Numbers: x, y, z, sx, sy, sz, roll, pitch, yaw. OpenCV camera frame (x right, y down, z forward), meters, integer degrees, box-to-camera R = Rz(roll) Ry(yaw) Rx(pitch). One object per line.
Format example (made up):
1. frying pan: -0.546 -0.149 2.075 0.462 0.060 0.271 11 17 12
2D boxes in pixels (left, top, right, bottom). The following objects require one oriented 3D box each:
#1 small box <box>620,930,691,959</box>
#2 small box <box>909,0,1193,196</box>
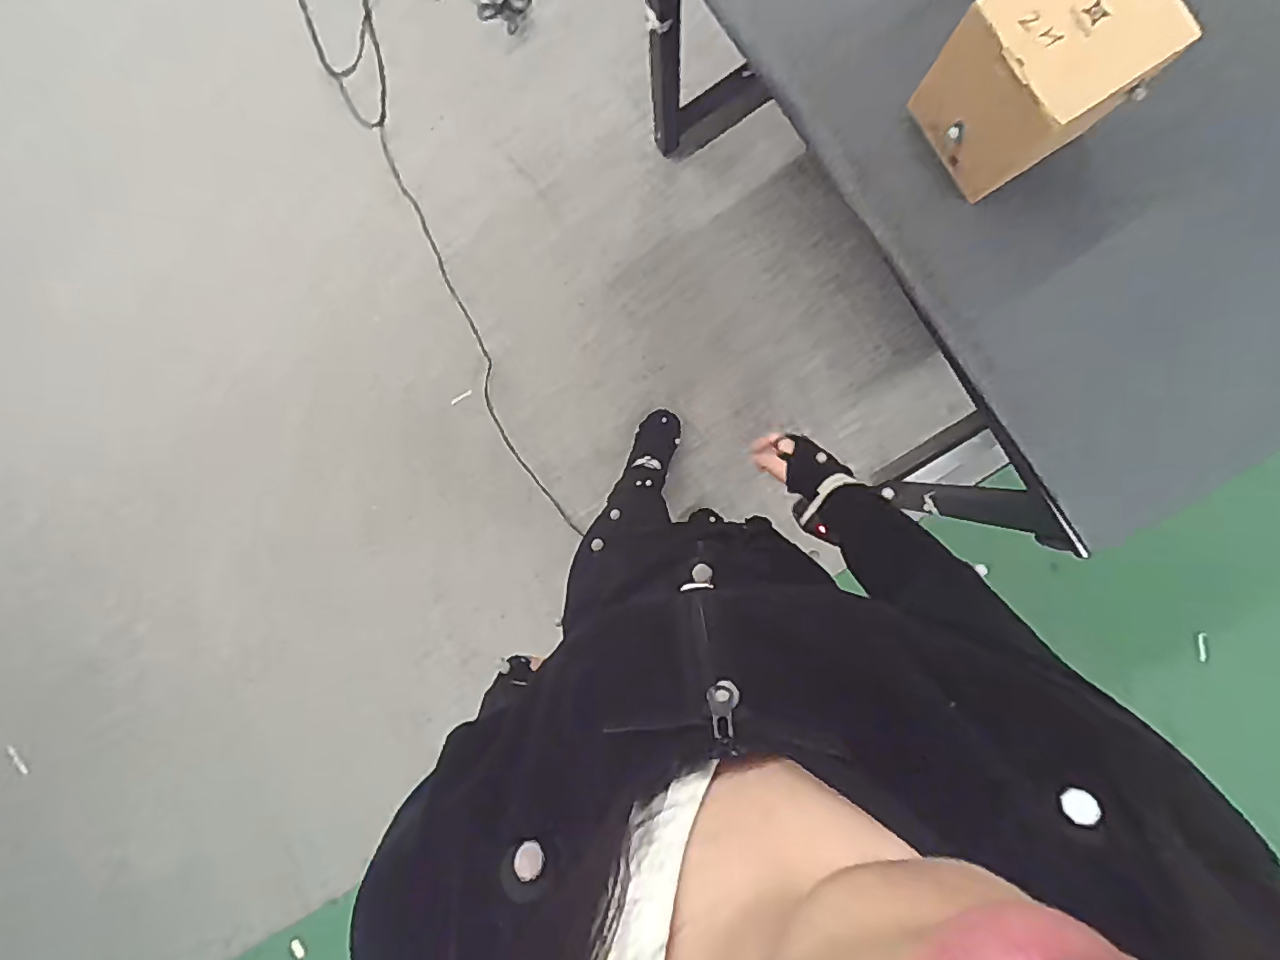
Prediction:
1. small box: 0.054 1.249 1.295 0.168 0.176 0.179 -38 90 3
2. small box: 0.469 -0.490 0.650 0.179 0.176 0.168 -33 90 3
